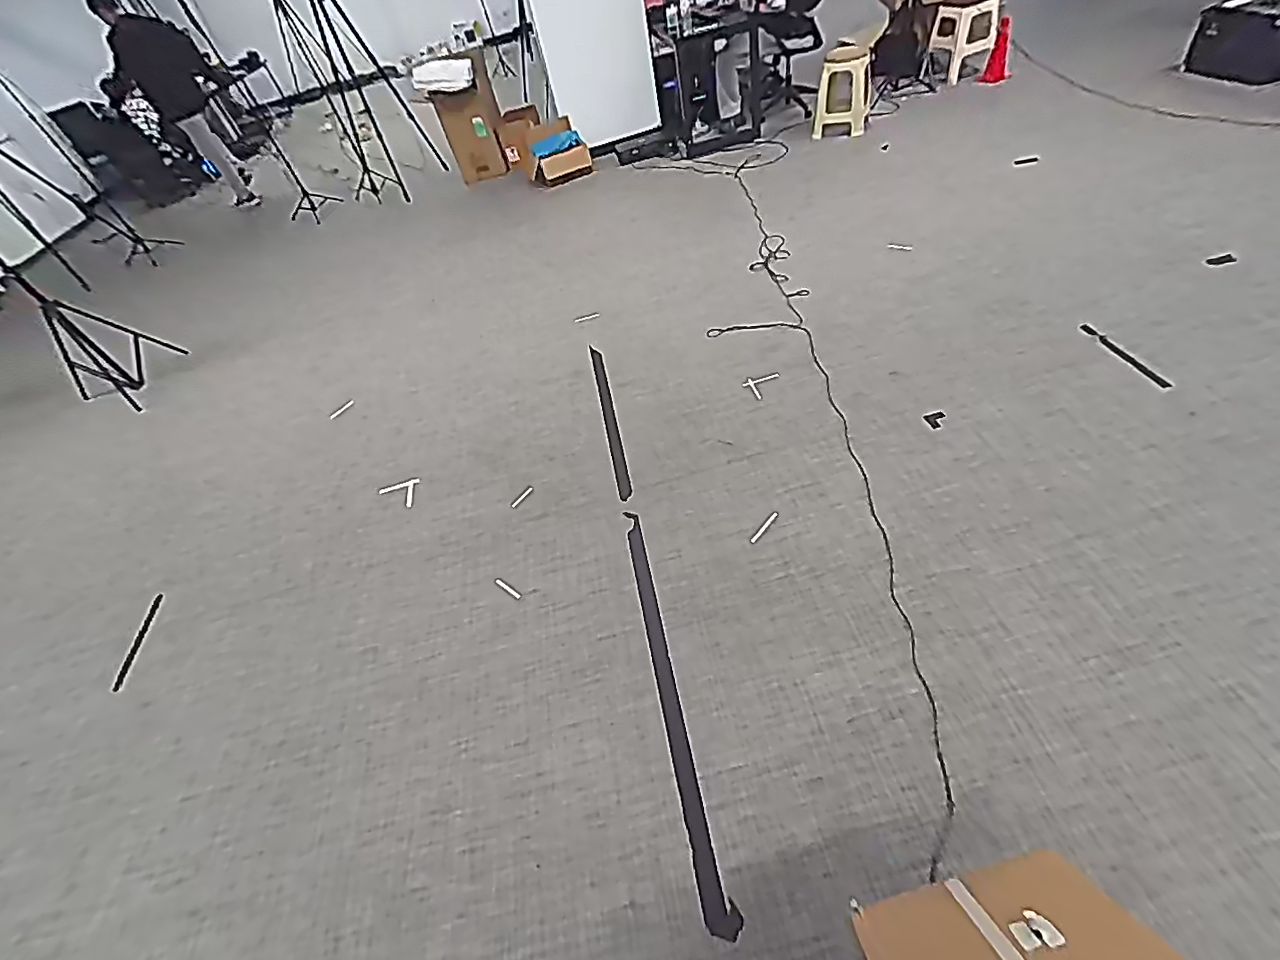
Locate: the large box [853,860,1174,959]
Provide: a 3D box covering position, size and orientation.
[{"bbox_3d":[0.488,0.712,0.573,0.320,0.408,0.320,-19,80,2],"label":"large box"}]
